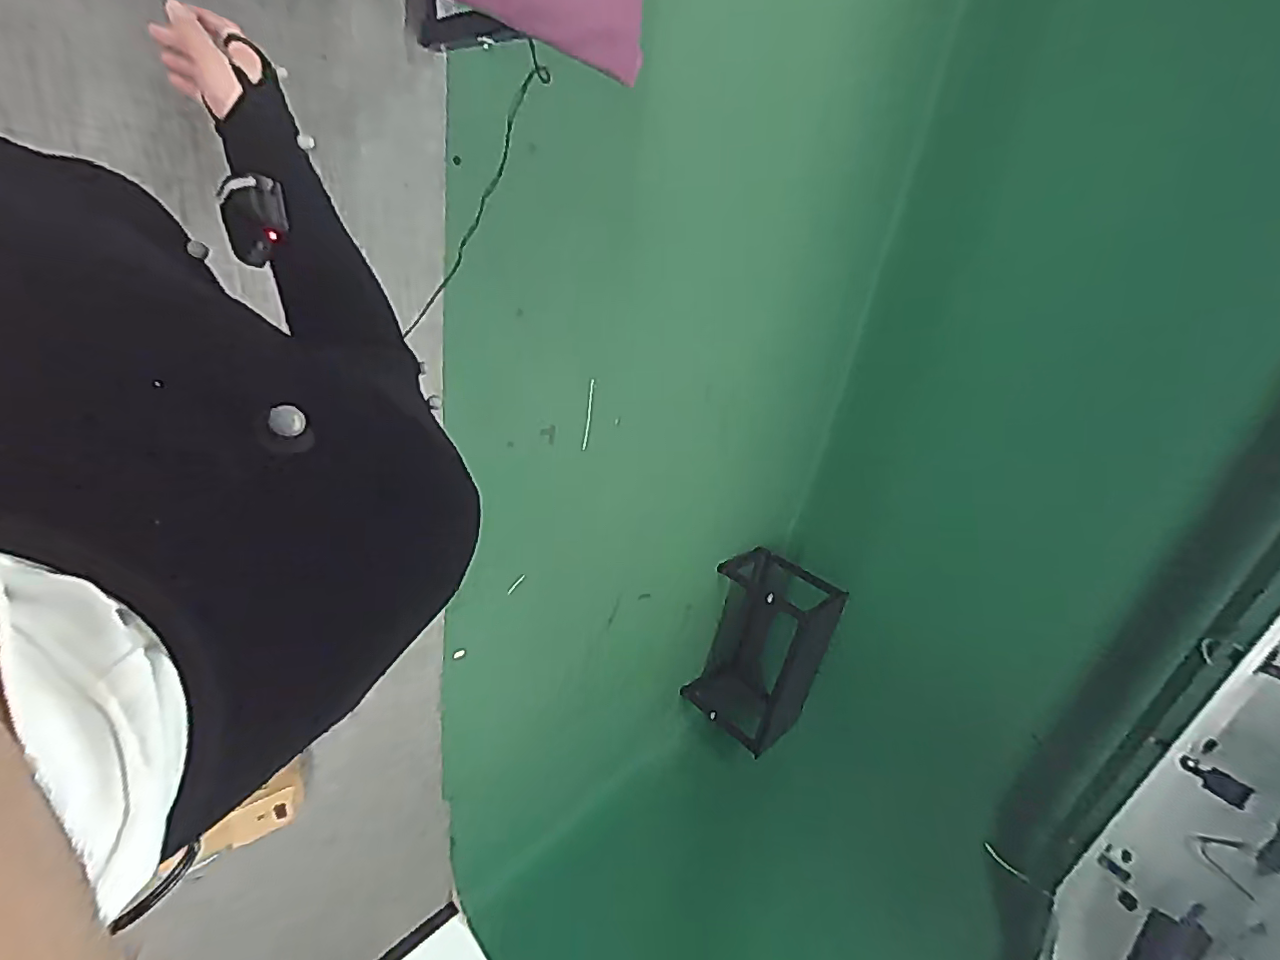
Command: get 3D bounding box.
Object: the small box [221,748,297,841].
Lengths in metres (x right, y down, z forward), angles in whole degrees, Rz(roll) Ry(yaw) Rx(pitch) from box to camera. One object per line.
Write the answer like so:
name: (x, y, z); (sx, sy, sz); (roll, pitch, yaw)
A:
small box: (-1.273, 1.040, 1.809); (0.179, 0.176, 0.168); (-9, 120, -45)
